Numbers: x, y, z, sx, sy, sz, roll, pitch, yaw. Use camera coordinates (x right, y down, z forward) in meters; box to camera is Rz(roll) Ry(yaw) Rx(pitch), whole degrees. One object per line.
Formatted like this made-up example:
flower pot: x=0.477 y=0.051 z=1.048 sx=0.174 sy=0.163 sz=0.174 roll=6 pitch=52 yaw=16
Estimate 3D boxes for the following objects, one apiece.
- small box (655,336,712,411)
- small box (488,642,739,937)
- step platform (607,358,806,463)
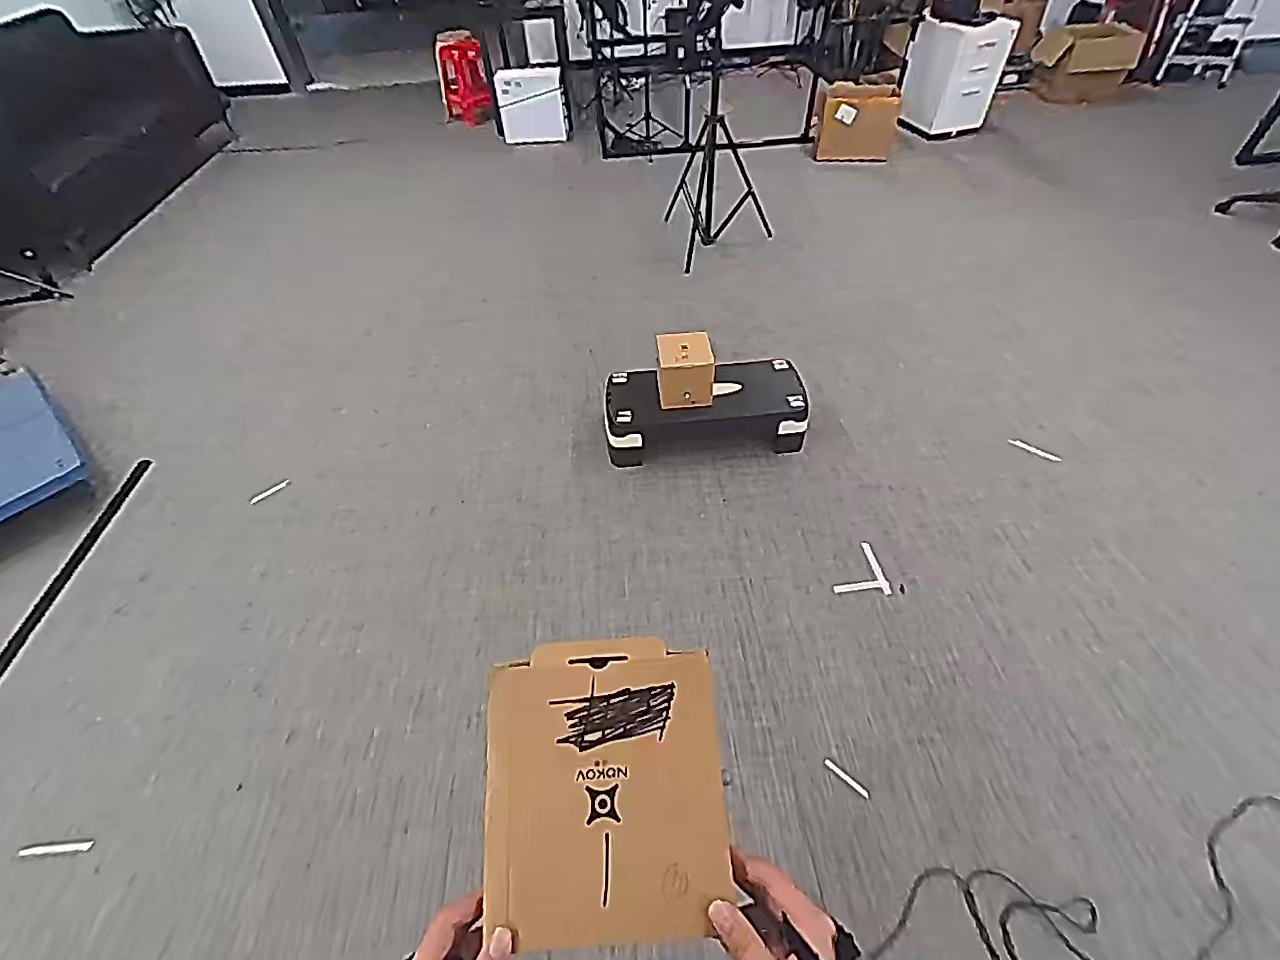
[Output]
small box: x=0.136 y=-0.345 z=1.760 sx=0.168 sy=0.176 sz=0.179 roll=-5 pitch=49 yaw=0
small box: x=-0.020 y=0.239 z=0.453 sx=0.168 sy=0.176 sz=0.179 roll=-4 pitch=68 yaw=0
step platform: x=0.225 y=-0.251 z=1.904 sx=0.684 sy=0.204 sz=0.286 roll=-6 pitch=48 yaw=-1
